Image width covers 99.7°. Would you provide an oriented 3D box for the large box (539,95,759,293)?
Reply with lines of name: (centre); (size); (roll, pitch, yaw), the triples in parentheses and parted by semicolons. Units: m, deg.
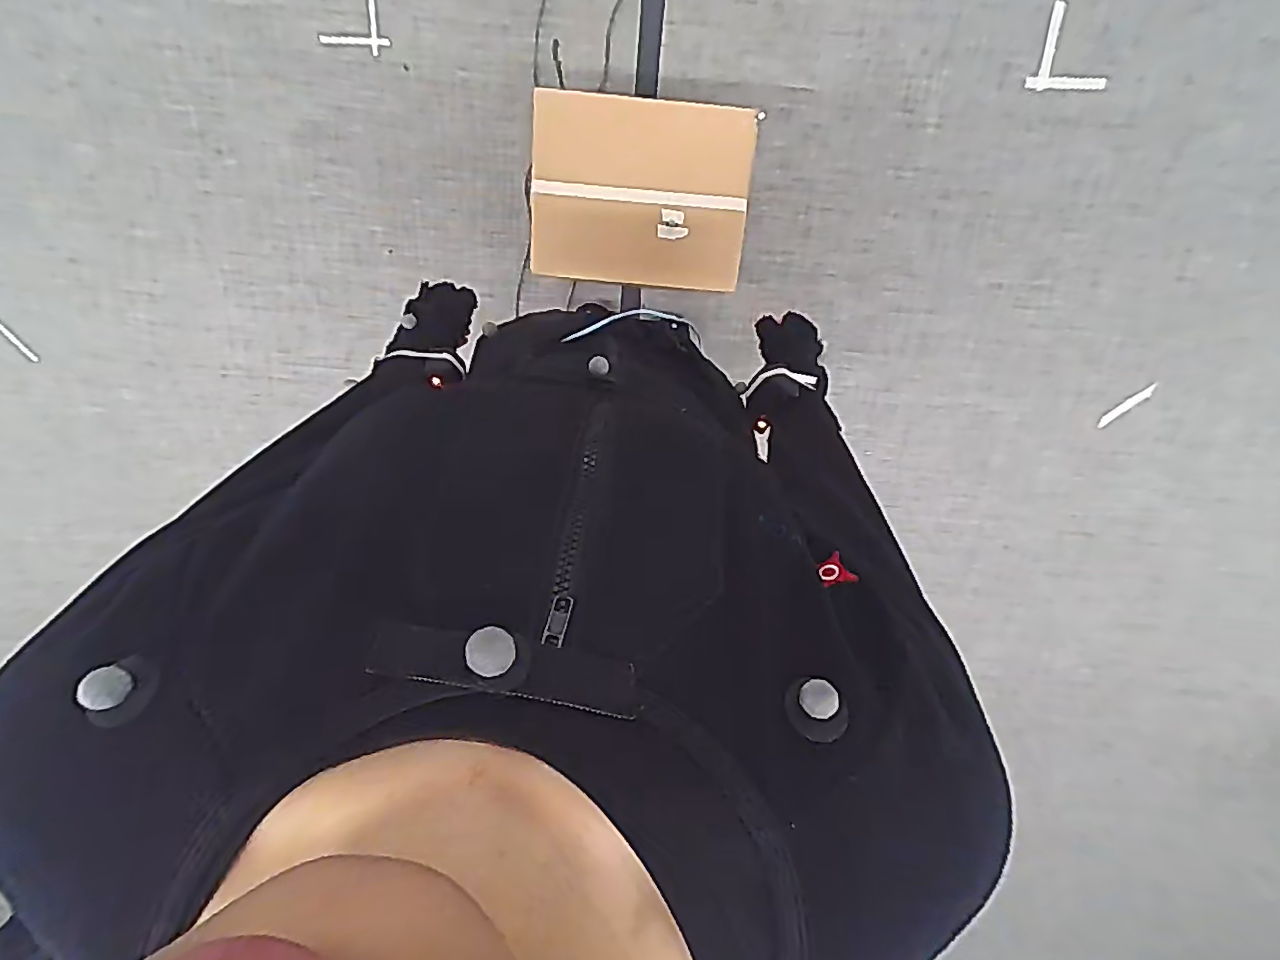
large box: (0.006, -0.580, 1.163); (0.408, 0.320, 0.320); (4, 109, -2)
